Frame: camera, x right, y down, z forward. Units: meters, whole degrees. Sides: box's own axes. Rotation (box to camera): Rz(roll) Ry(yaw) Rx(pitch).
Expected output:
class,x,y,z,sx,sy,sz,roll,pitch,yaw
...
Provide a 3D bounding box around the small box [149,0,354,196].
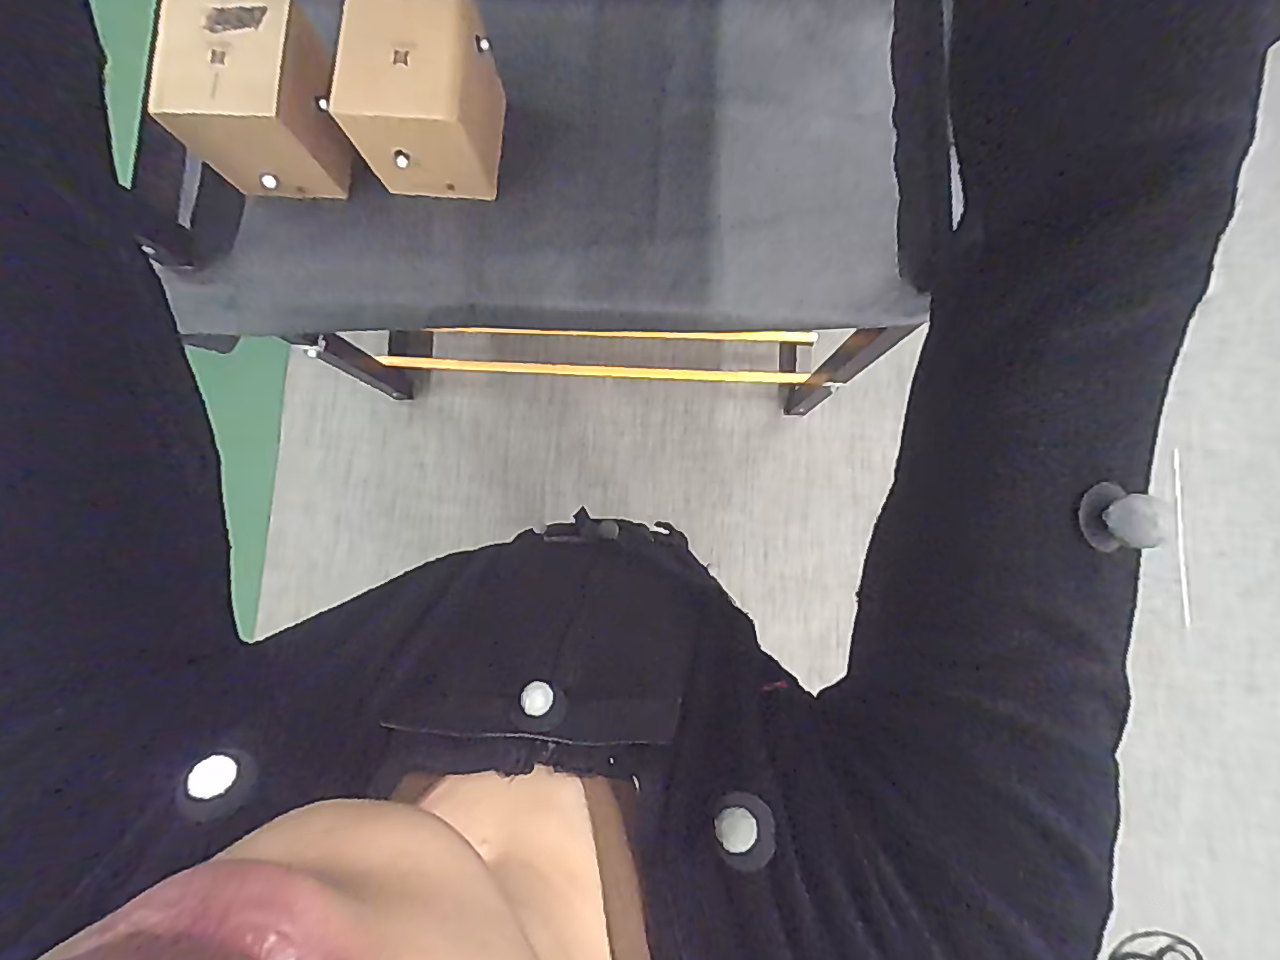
class,x,y,z,sx,sy,sz,roll,pitch,yaw
small box,-0.527,-0.537,0.762,0.168,0.176,0.179,2,84,0

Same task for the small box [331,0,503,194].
class,x,y,z,sx,sy,sz,roll,pitch,yaw
small box,-0.300,-0.535,0.763,0.168,0.176,0.179,4,84,1
